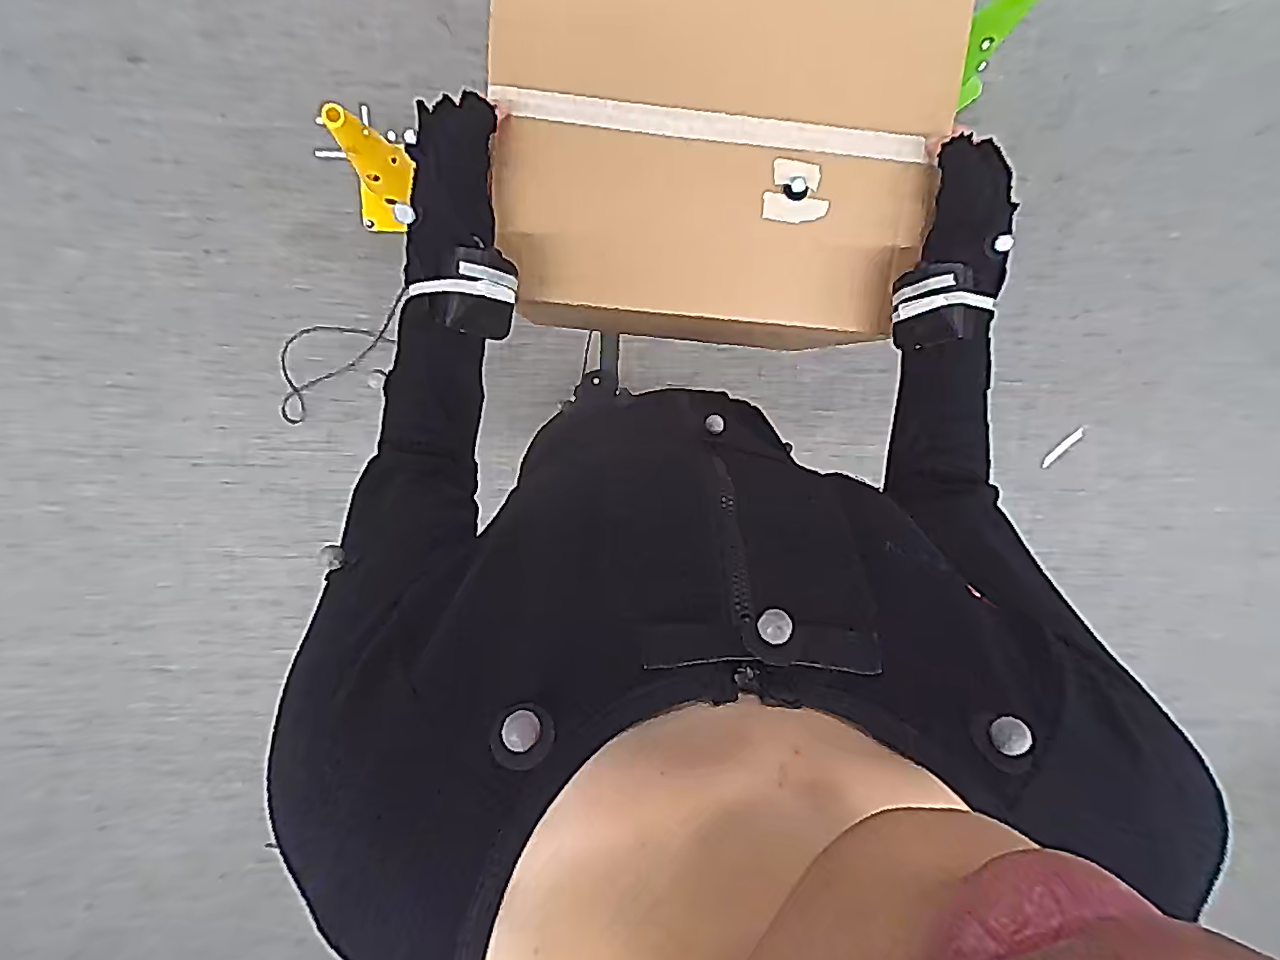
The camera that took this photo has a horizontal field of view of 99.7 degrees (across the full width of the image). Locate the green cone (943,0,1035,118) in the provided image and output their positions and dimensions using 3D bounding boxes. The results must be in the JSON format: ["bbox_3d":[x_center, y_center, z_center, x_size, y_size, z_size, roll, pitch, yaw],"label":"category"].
[{"bbox_3d":[0.754,-0.989,1.190,0.202,0.368,0.200,-36,101,1],"label":"green cone"}]

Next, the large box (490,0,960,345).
[{"bbox_3d":[0.060,-0.335,0.619,0.408,0.320,0.320,4,101,-5],"label":"large box"}]
